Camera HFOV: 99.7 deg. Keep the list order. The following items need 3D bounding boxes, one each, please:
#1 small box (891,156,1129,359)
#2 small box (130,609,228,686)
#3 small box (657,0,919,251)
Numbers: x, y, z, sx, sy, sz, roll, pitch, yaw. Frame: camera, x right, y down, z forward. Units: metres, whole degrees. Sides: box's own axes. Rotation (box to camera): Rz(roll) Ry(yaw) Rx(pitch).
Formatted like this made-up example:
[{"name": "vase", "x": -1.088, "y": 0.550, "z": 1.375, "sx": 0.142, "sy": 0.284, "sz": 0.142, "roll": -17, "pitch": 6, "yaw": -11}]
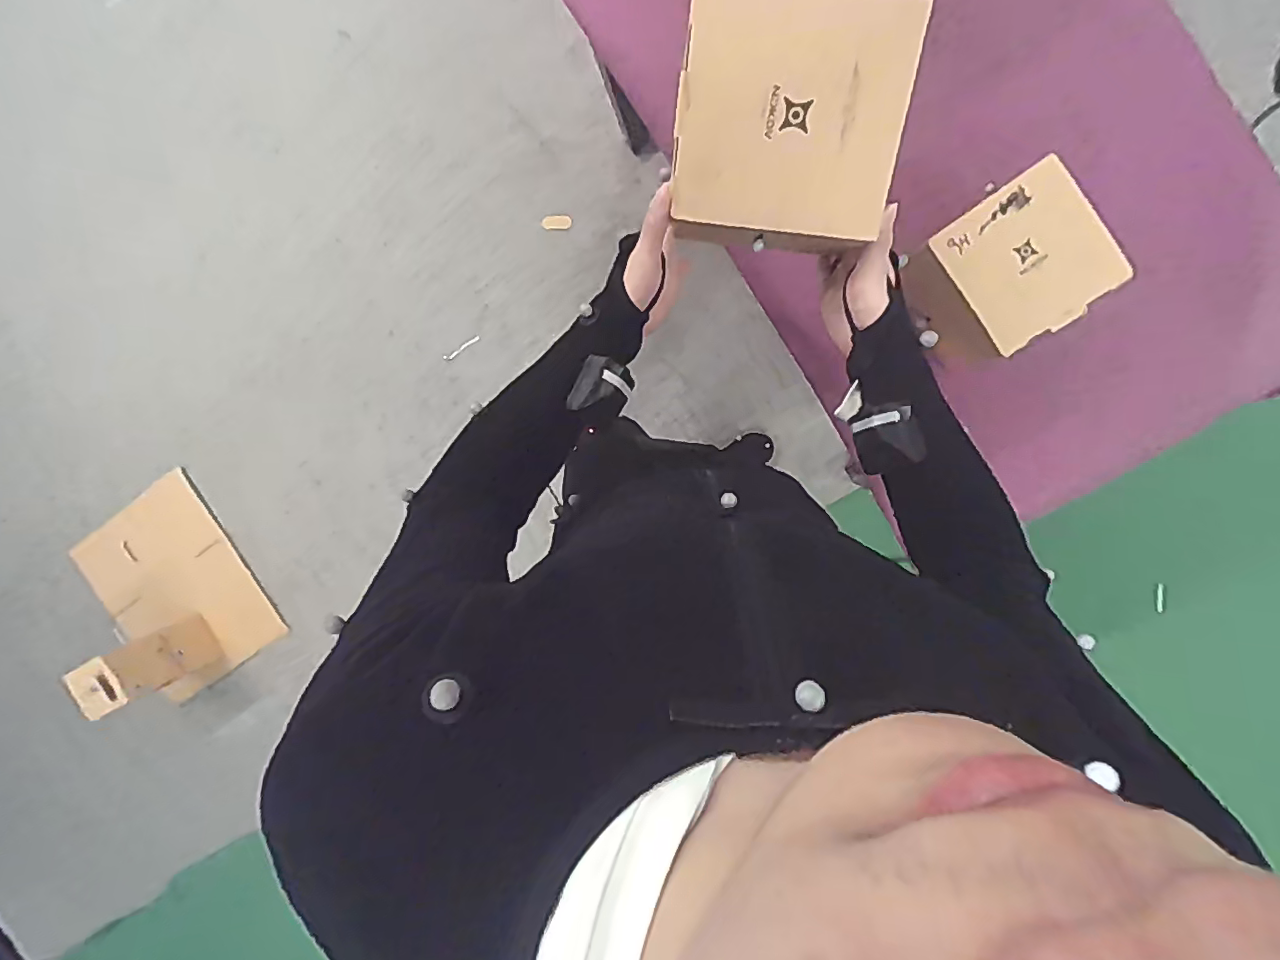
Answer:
[{"name": "small box", "x": 0.473, "y": -0.276, "z": 0.724, "sx": 0.168, "sy": 0.176, "sz": 0.179, "roll": -34, "pitch": 92, "yaw": 11}, {"name": "small box", "x": -1.603, "y": 0.579, "z": 1.890, "sx": 0.168, "sy": 0.176, "sz": 0.179, "roll": -27, "pitch": 92, "yaw": 11}, {"name": "small box", "x": 0.117, "y": -0.311, "z": 0.499, "sx": 0.179, "sy": 0.176, "sz": 0.168, "roll": 8, "pitch": 110, "yaw": 3}]
